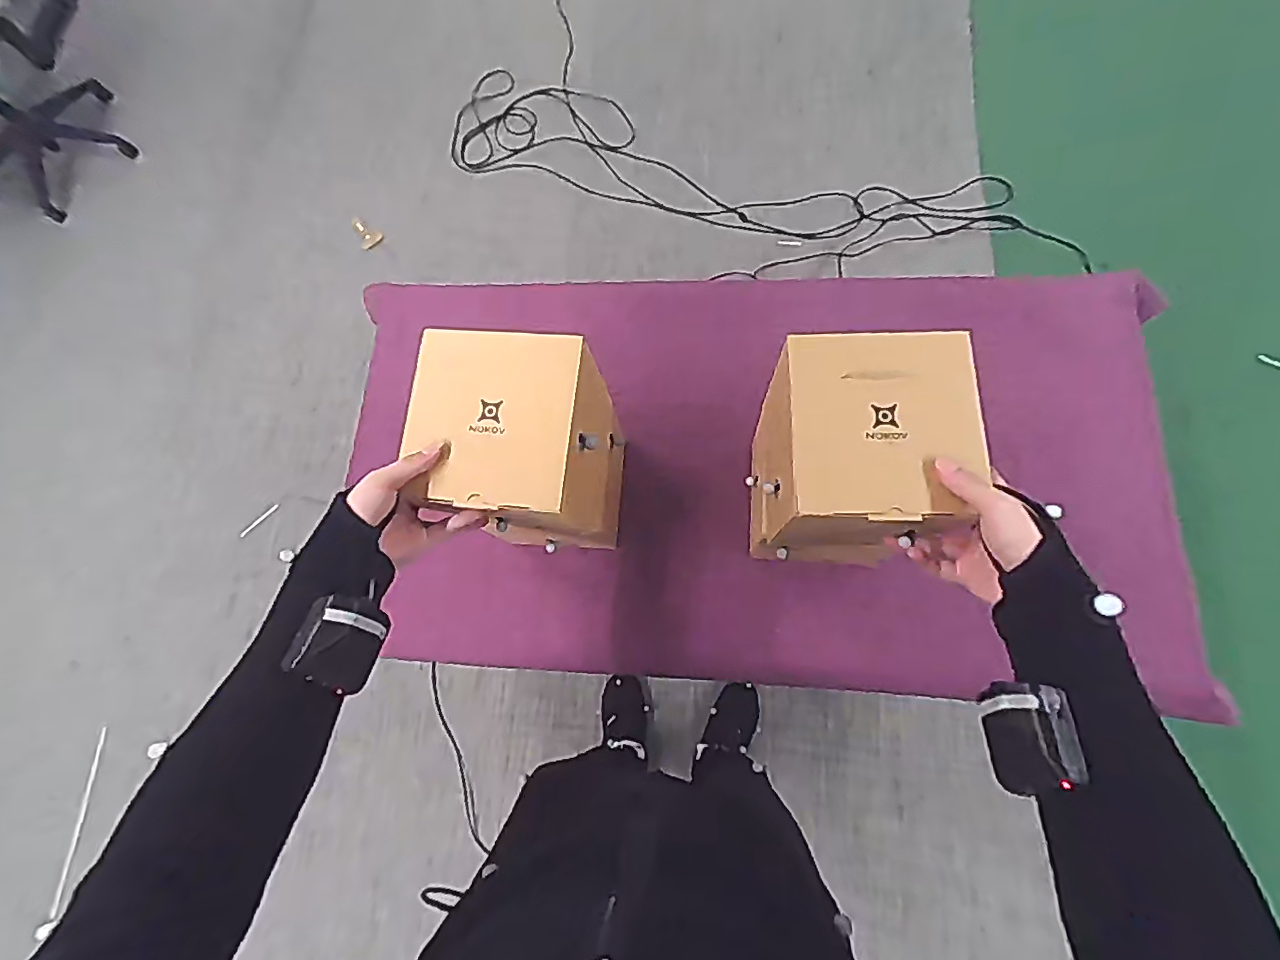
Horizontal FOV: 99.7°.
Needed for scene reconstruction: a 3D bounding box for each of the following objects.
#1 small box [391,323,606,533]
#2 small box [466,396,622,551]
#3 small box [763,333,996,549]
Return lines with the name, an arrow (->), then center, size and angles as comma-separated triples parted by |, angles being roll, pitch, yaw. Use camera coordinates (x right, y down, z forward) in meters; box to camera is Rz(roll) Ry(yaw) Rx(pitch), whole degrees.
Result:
small box -> -0.135, -0.046, 0.585 | 0.168, 0.176, 0.179 | 5, 78, 6
small box -> -0.120, -0.006, 0.746 | 0.168, 0.176, 0.179 | 3, 75, 7
small box -> 0.220, -0.028, 0.546 | 0.168, 0.176, 0.179 | 1, 74, 5
